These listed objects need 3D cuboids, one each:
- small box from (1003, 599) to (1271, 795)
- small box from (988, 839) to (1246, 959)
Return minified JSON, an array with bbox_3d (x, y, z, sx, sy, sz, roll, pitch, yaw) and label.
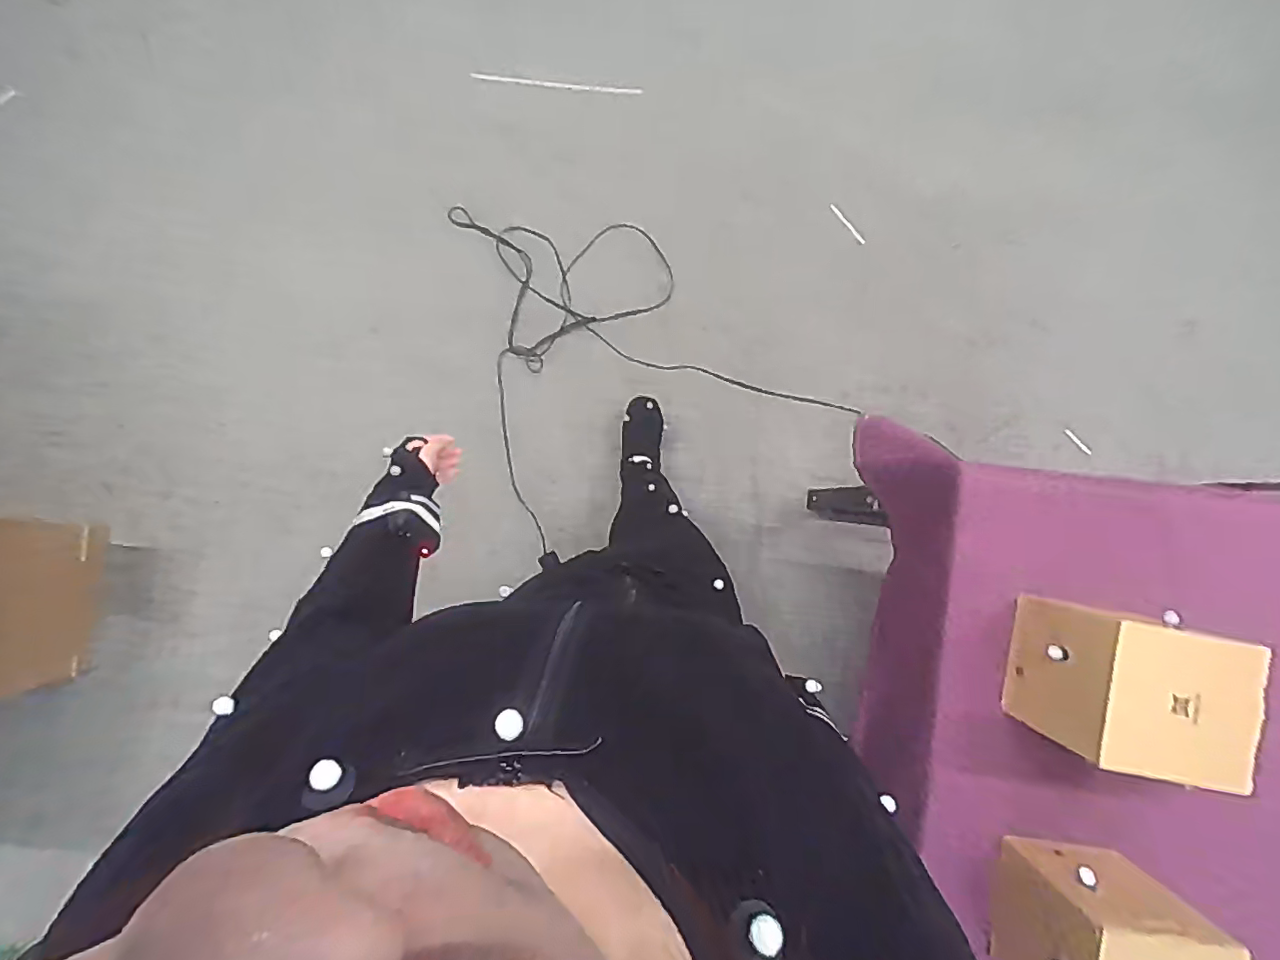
[{"bbox_3d":[0.600,0.254,0.677,0.179,0.176,0.168,11,88,-1],"label":"small box"},{"bbox_3d":[0.566,0.586,0.666,0.168,0.176,0.179,9,89,1],"label":"small box"}]
